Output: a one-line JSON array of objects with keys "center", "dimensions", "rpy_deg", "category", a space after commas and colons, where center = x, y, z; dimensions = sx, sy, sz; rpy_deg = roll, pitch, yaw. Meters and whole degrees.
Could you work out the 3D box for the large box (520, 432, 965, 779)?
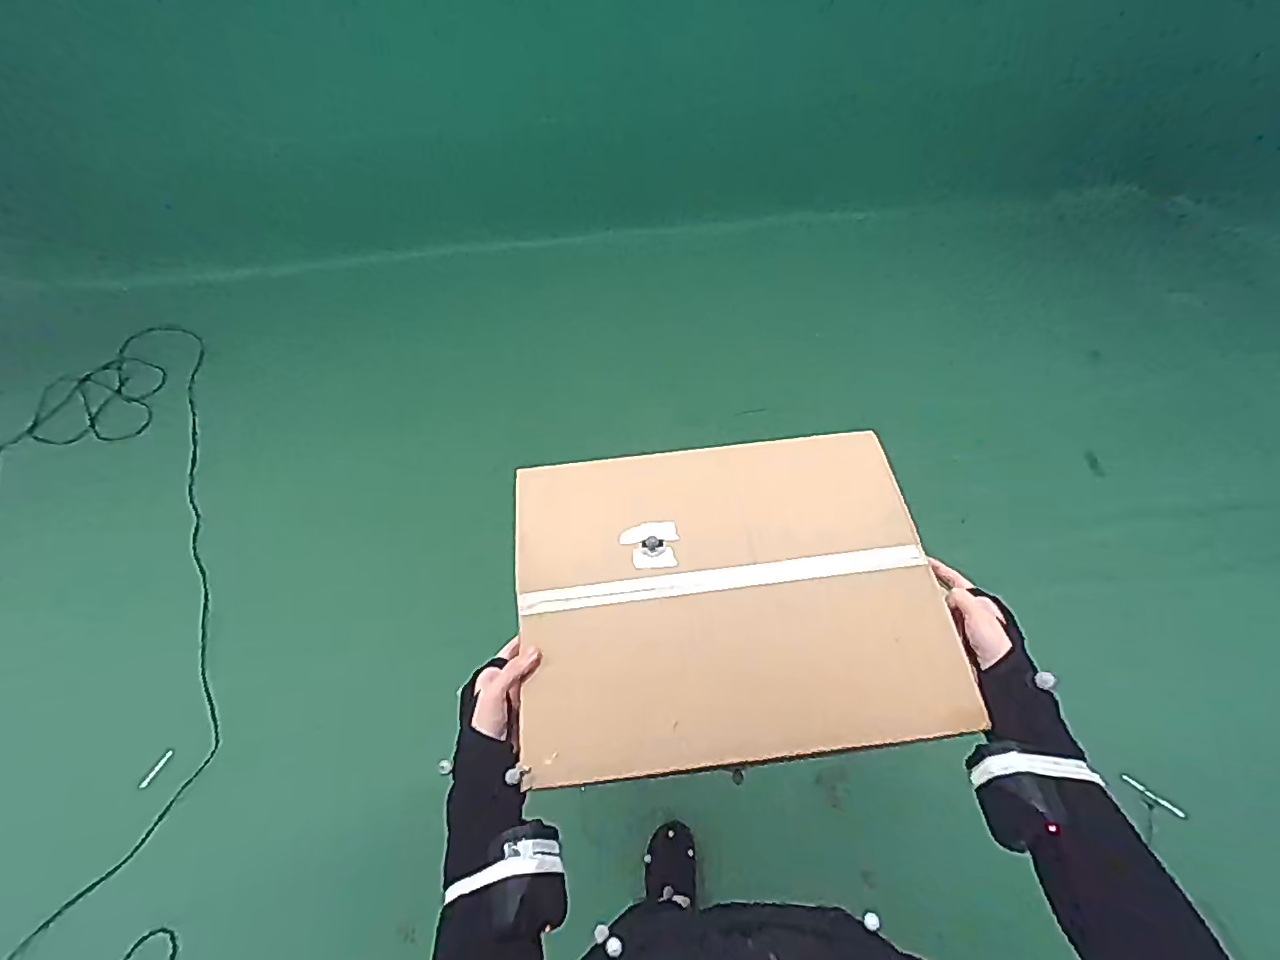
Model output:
[{"center": [0.087, 0.172, 0.678], "dimensions": [0.408, 0.320, 0.320], "rpy_deg": [-7, 60, -1], "category": "large box"}]
